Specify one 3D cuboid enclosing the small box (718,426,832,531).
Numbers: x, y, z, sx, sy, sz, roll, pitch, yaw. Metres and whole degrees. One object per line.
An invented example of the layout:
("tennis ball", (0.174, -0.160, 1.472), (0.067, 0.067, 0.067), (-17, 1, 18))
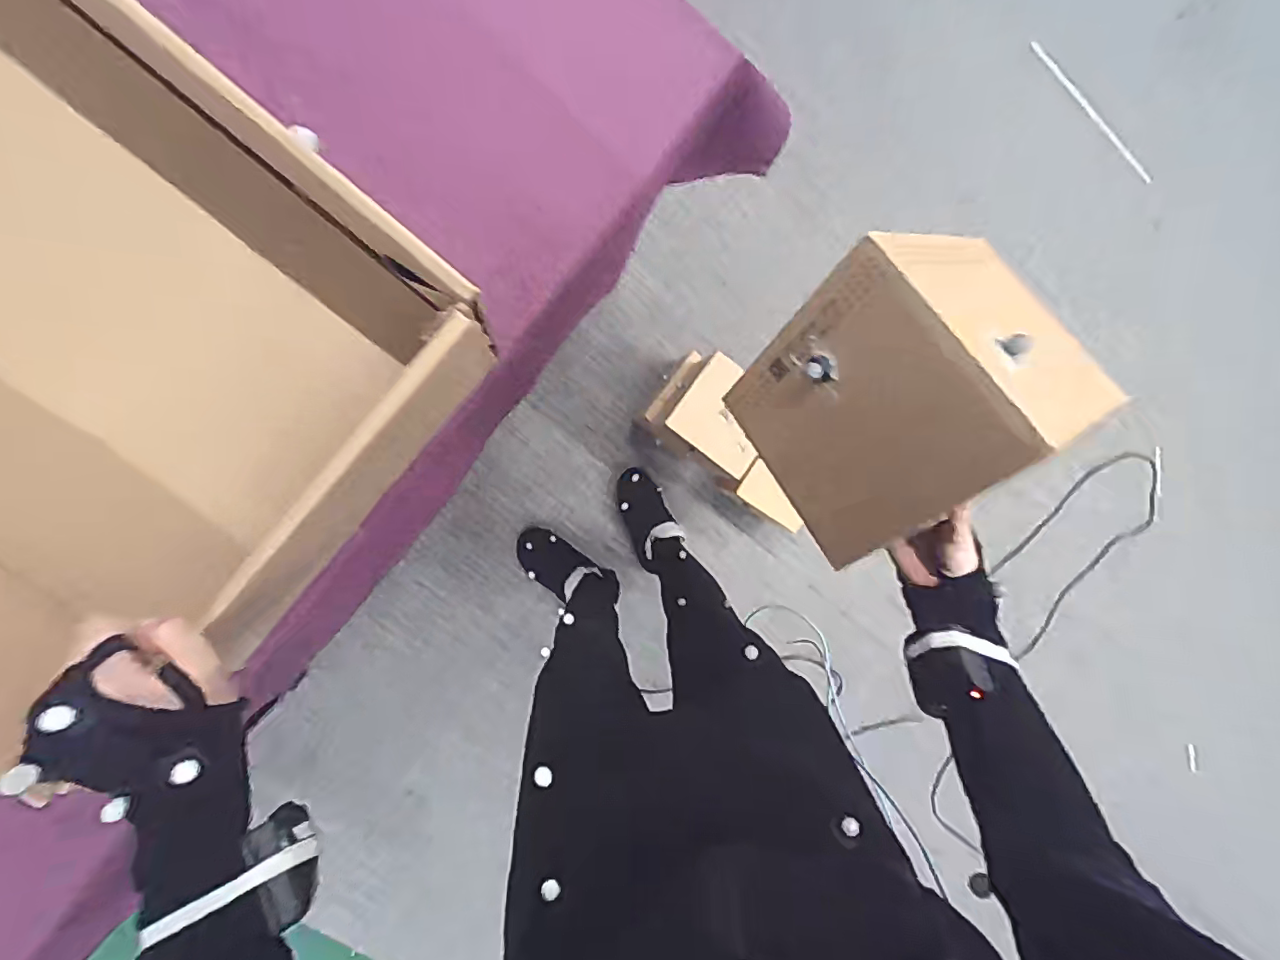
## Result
("small box", (0.301, -0.007, 1.256), (0.168, 0.176, 0.179), (33, 88, -10))
